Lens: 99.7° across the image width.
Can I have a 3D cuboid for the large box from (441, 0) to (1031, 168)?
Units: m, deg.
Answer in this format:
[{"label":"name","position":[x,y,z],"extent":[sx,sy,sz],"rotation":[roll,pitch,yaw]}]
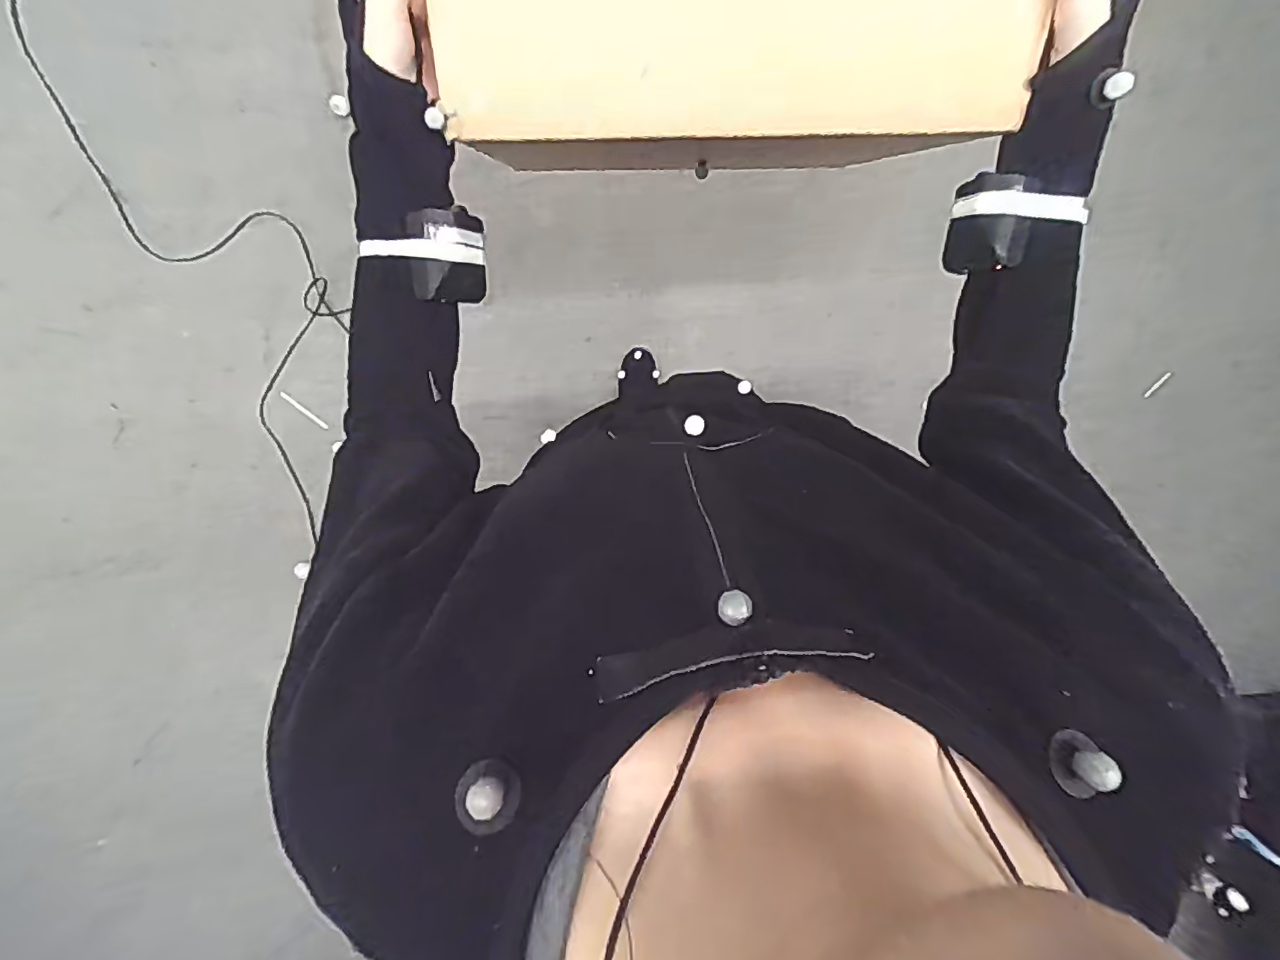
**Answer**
[{"label":"large box","position":[0.060,-0.457,0.457],"extent":[0.408,0.320,0.320],"rotation":[-3,116,-1]}]
